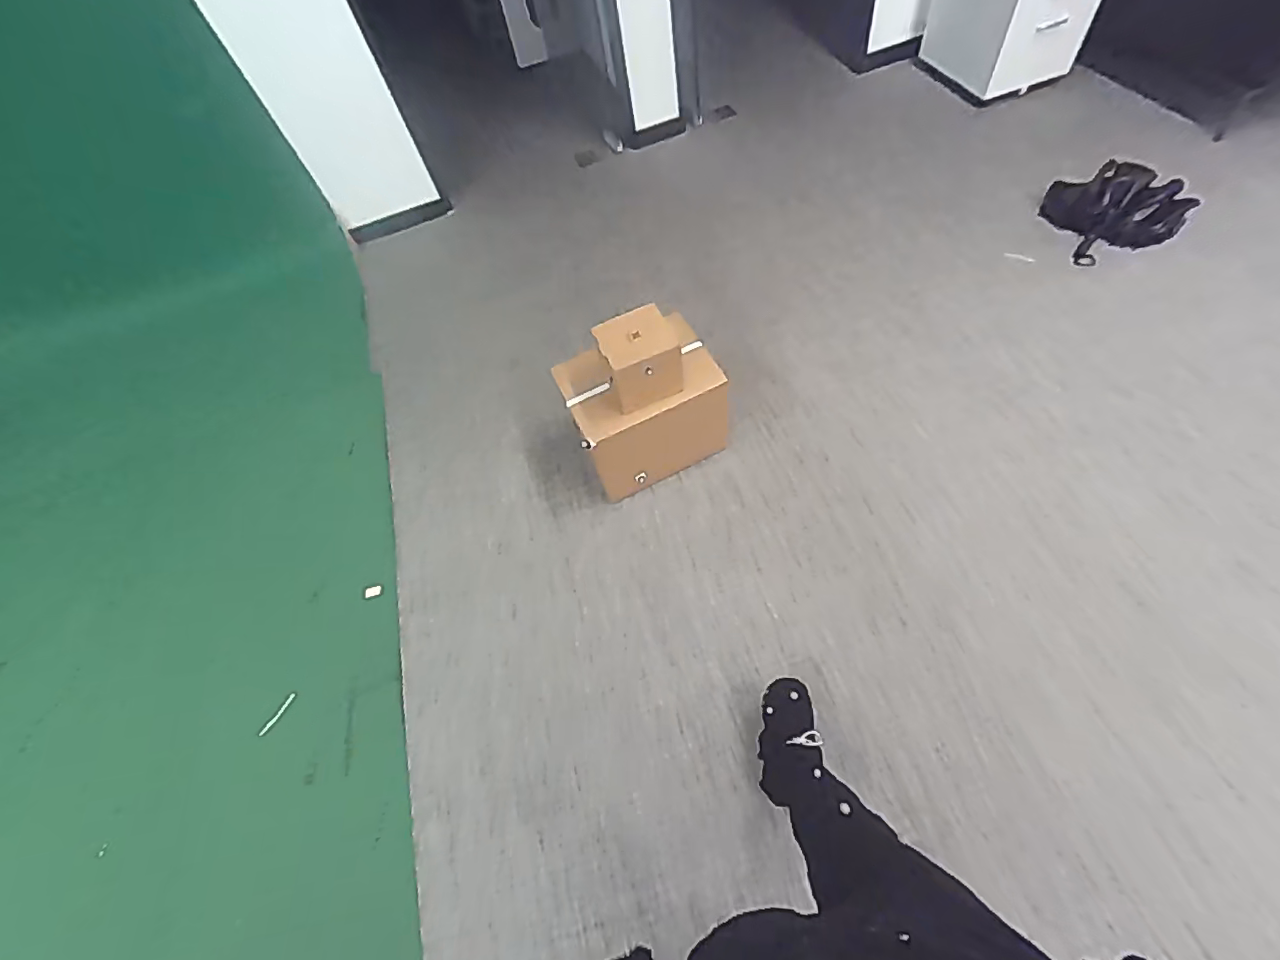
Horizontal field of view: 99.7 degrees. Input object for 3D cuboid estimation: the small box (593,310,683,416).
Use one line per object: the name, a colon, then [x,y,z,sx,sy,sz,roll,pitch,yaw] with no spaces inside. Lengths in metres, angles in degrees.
small box: [0.000,-0.294,1.385,0.179,0.176,0.168,-24,59,-6]
